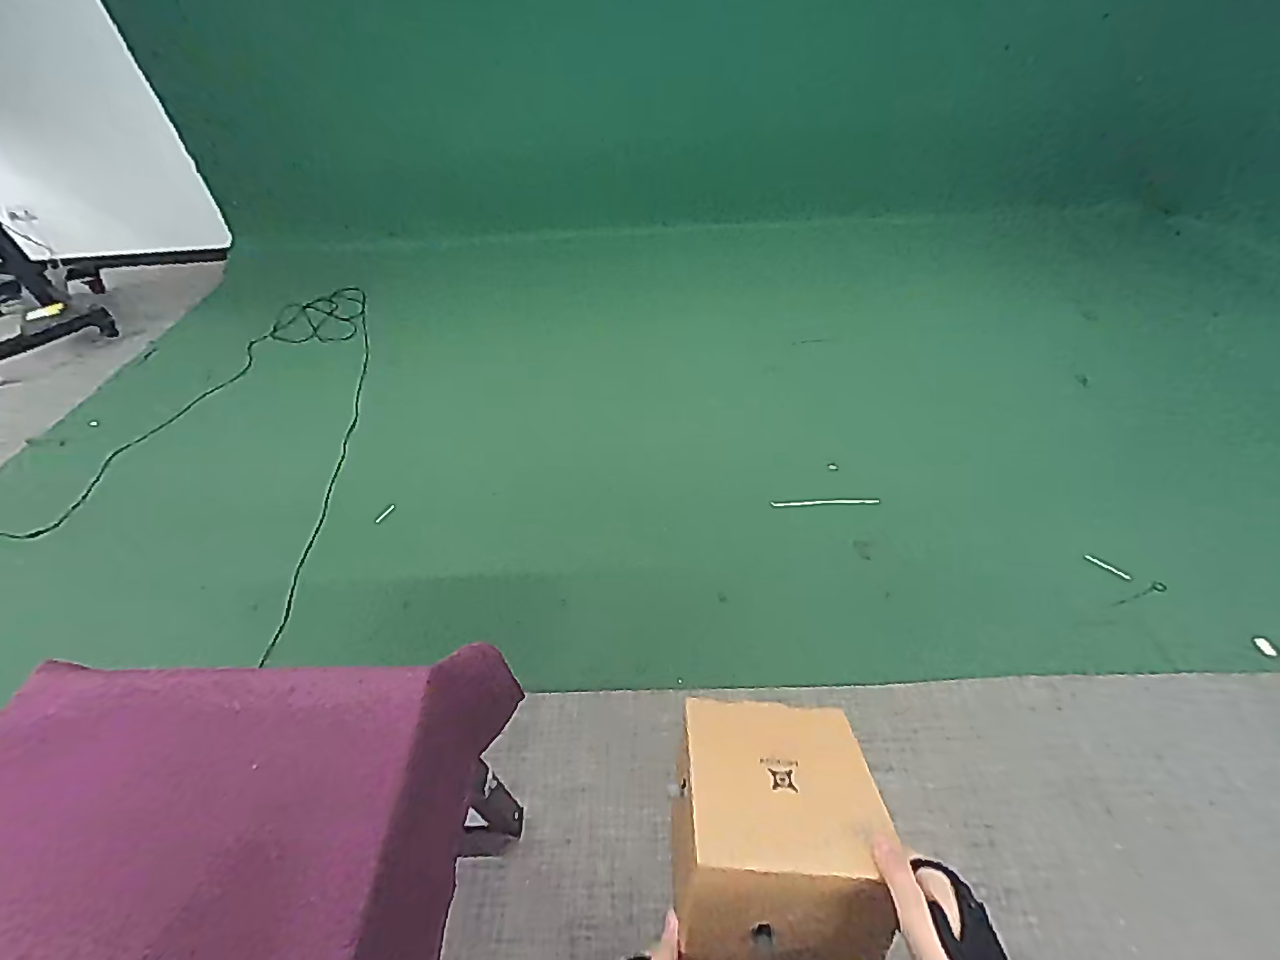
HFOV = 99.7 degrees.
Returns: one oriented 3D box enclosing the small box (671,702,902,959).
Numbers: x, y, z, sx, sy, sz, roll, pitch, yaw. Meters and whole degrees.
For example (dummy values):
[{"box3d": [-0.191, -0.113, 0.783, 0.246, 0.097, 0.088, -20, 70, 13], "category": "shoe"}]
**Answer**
[{"box3d": [0.119, 0.344, 0.517, 0.168, 0.176, 0.179, 4, 19, 0], "category": "small box"}]
